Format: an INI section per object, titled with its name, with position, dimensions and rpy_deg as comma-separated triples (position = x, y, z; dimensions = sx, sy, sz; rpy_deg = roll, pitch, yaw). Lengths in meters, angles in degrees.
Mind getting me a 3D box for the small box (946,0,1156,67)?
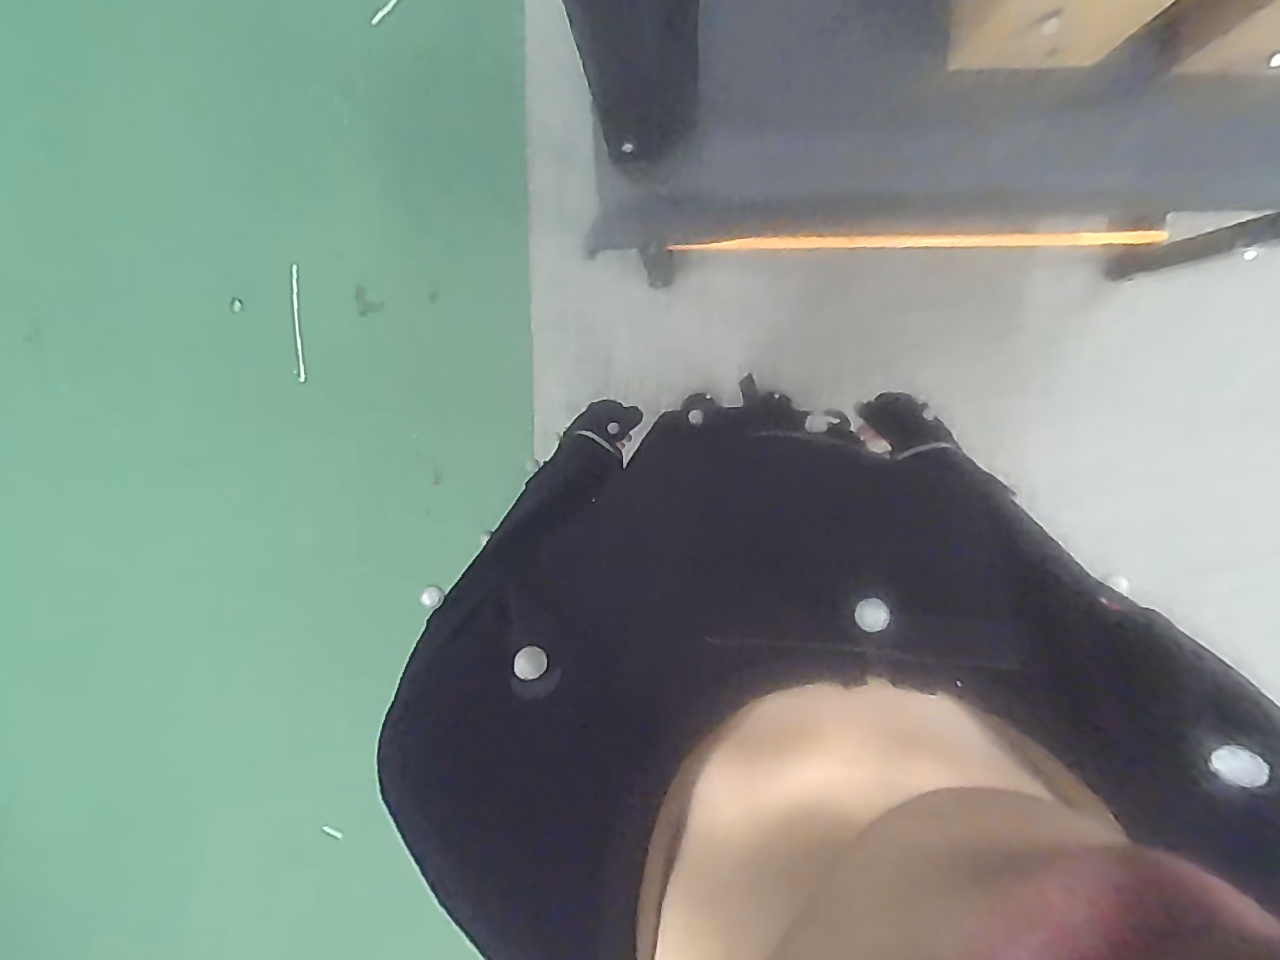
[small box]
position = 0.434, -0.552, 0.544
dimensions = 0.168, 0.176, 0.179
rpy_deg = 1, 99, 4
